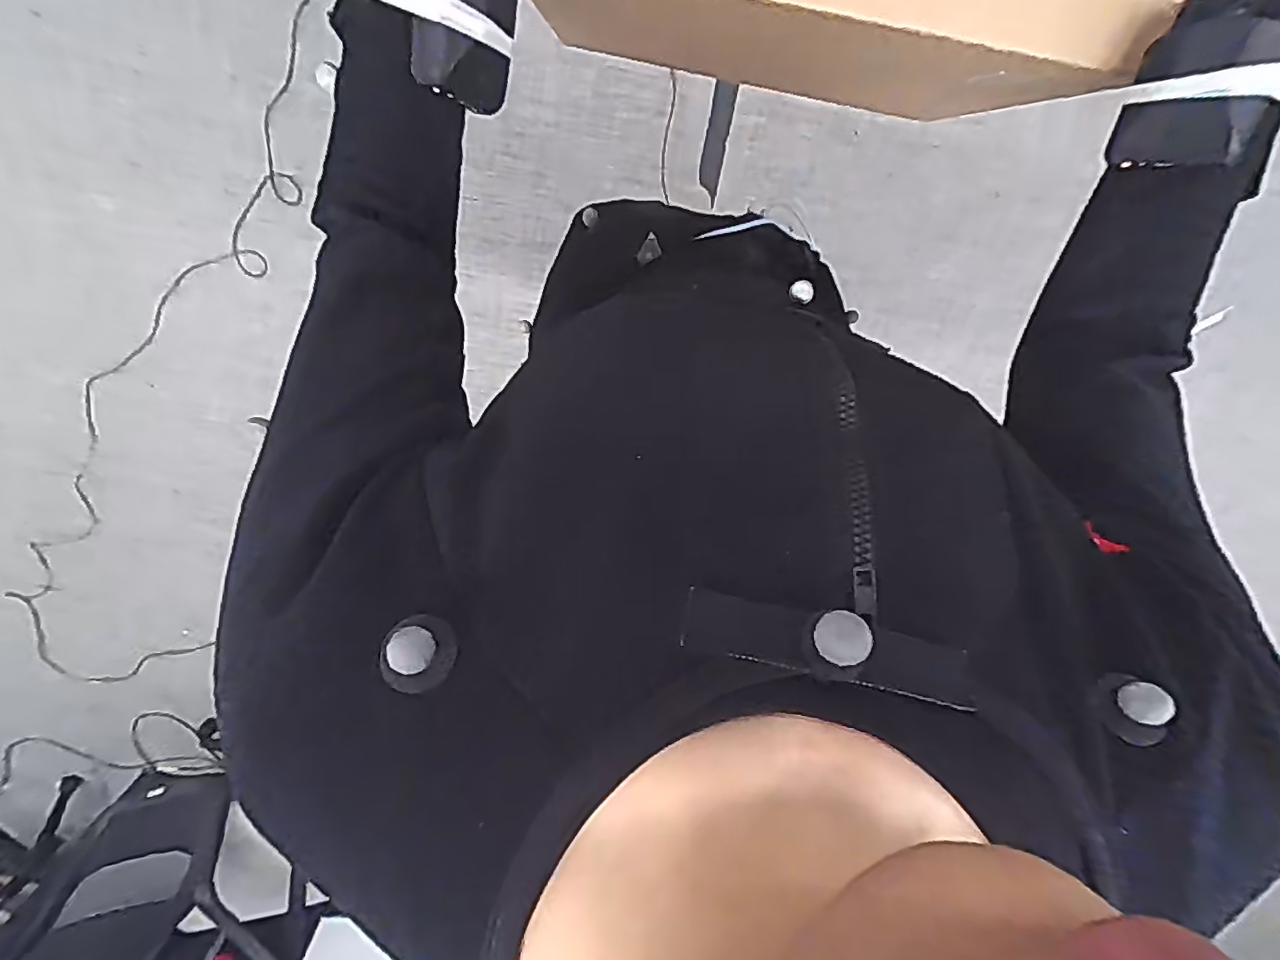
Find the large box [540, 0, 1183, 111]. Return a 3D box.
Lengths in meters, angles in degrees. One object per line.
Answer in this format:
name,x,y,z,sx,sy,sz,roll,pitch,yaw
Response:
large box,0.136,-0.479,0.369,0.408,0.320,0.320,8,121,-5
